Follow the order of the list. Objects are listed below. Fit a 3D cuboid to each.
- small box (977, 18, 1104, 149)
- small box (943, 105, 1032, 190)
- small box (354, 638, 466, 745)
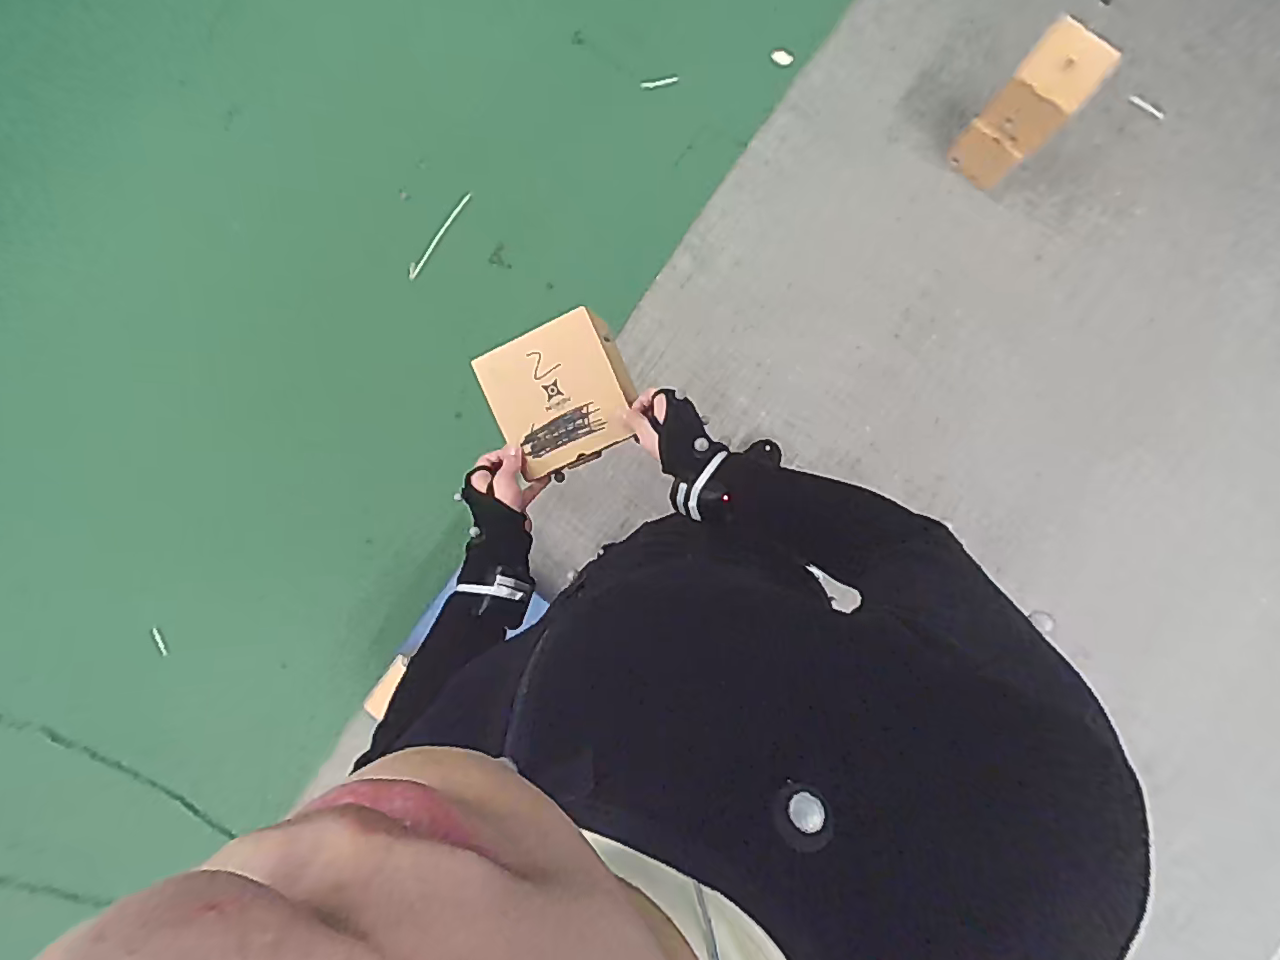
[{"bbox_3d":[0.977,-0.965,1.336,0.168,0.176,0.179,-19,88,6],"label":"small box"},{"bbox_3d":[0.977,-0.950,1.491,0.168,0.176,0.179,40,92,3],"label":"small box"},{"bbox_3d":[-0.592,0.544,1.418,0.179,0.176,0.168,37,92,3],"label":"small box"}]
